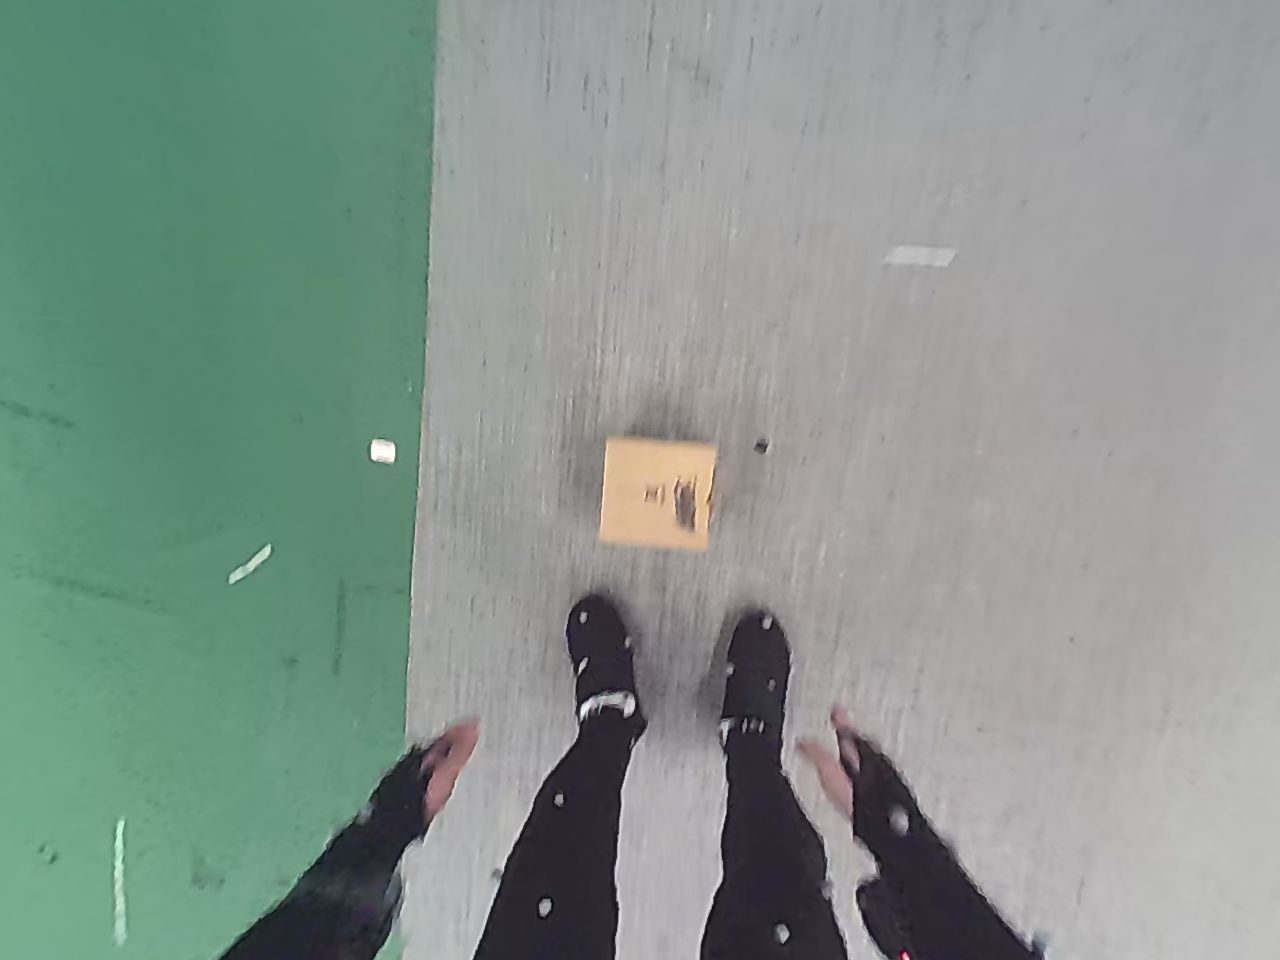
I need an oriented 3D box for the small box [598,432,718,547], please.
[{"bbox_3d":[0.033,0.008,0.923,0.179,0.176,0.168,6,96,5],"label":"small box"}]
